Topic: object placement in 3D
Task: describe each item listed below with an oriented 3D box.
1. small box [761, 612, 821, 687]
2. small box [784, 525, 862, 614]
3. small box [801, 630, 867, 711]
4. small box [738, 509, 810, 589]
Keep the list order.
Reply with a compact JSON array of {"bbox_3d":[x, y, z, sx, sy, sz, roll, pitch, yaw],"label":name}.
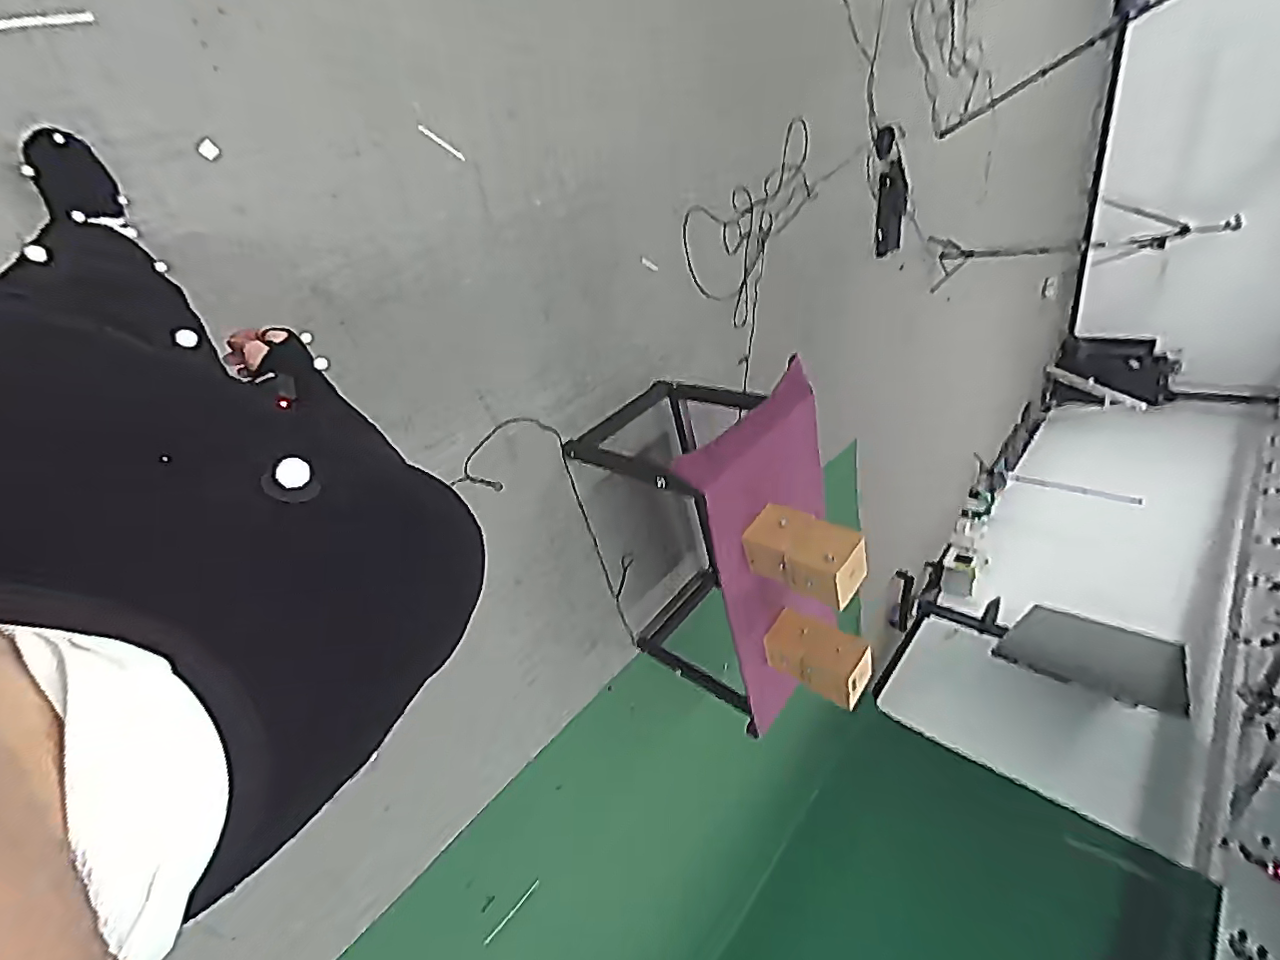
[{"bbox_3d":[0.566,0.628,2.017,0.179,0.176,0.168,-42,128,-32],"label":"small box"},{"bbox_3d":[0.551,0.266,1.640,0.179,0.176,0.168,-43,130,-29],"label":"small box"},{"bbox_3d":[0.678,0.665,1.902,0.179,0.176,0.168,-39,127,-35],"label":"small box"},{"bbox_3d":[0.445,0.219,1.759,0.179,0.176,0.168,-44,130,-29],"label":"small box"}]
